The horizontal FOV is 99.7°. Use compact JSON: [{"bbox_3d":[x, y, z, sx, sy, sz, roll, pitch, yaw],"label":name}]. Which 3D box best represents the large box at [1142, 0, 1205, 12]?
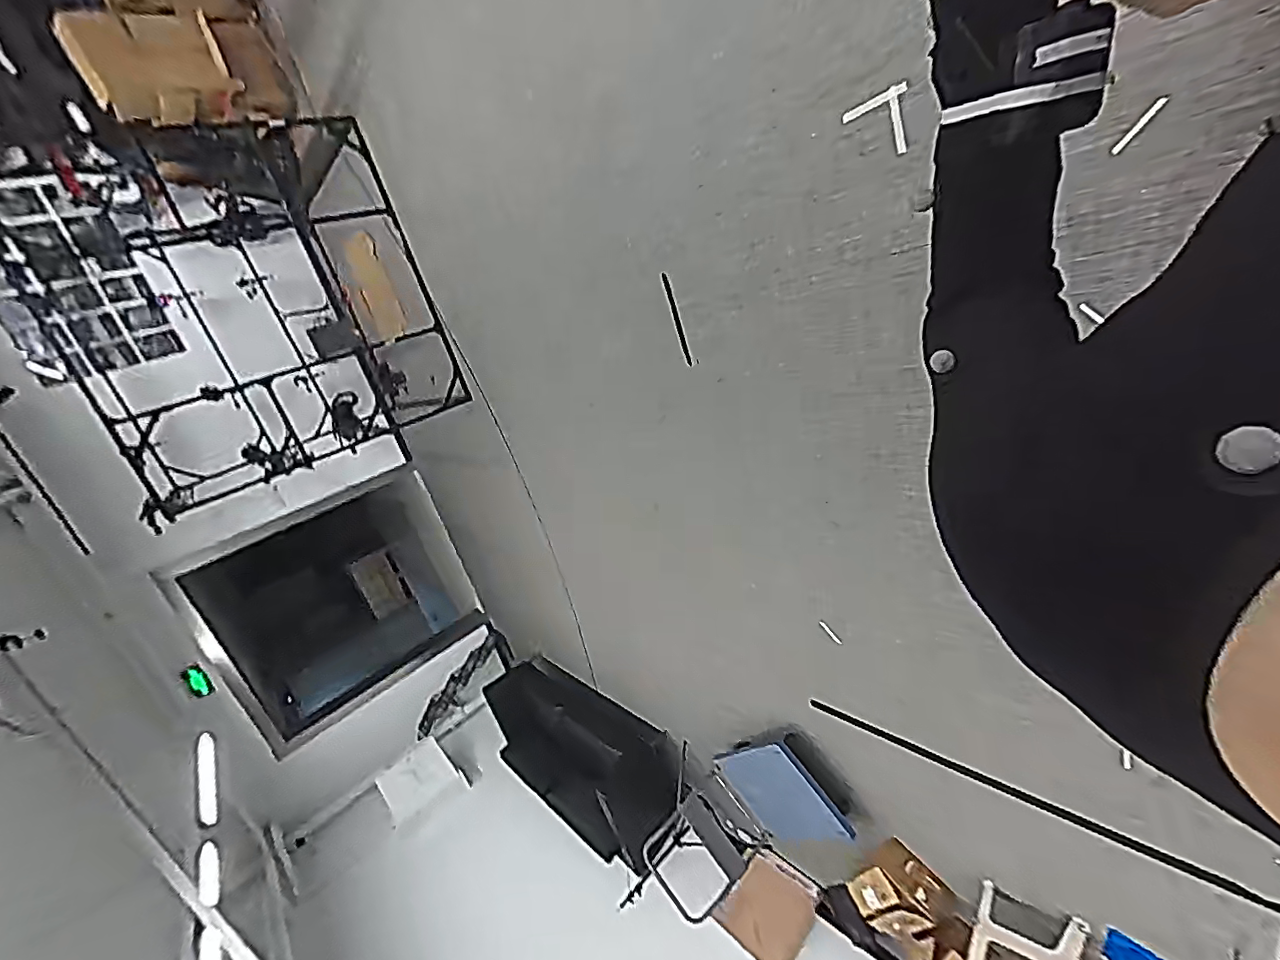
[{"bbox_3d":[0.442,-0.488,0.208,0.408,0.320,0.320,6,118,51],"label":"large box"}]
